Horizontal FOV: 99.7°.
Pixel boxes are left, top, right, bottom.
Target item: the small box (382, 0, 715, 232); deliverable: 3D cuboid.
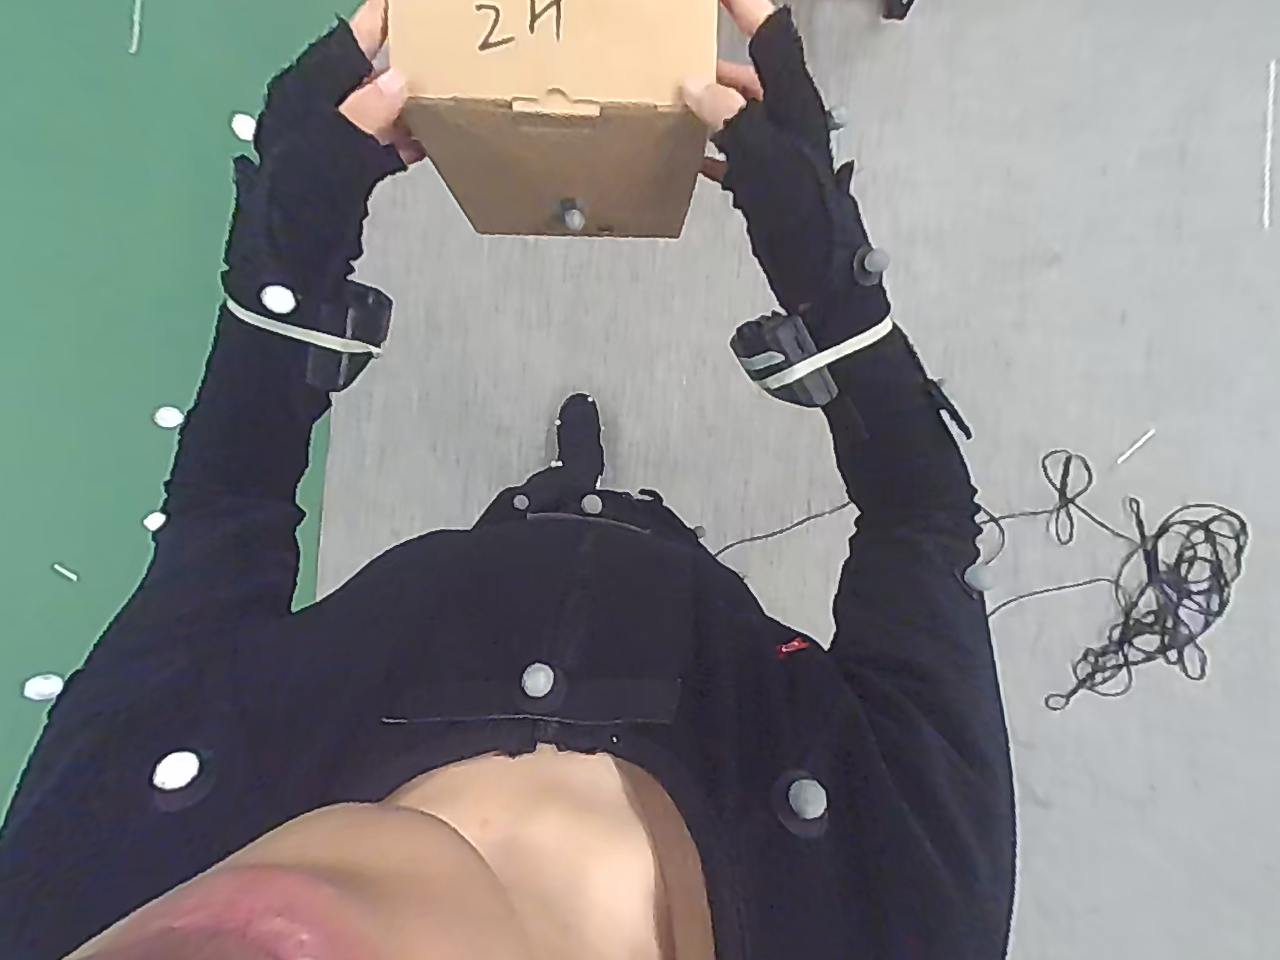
[{"bbox_3d":[-0.046,-0.286,0.347,0.168,0.176,0.179,1,91,-2],"label":"small box"}]
